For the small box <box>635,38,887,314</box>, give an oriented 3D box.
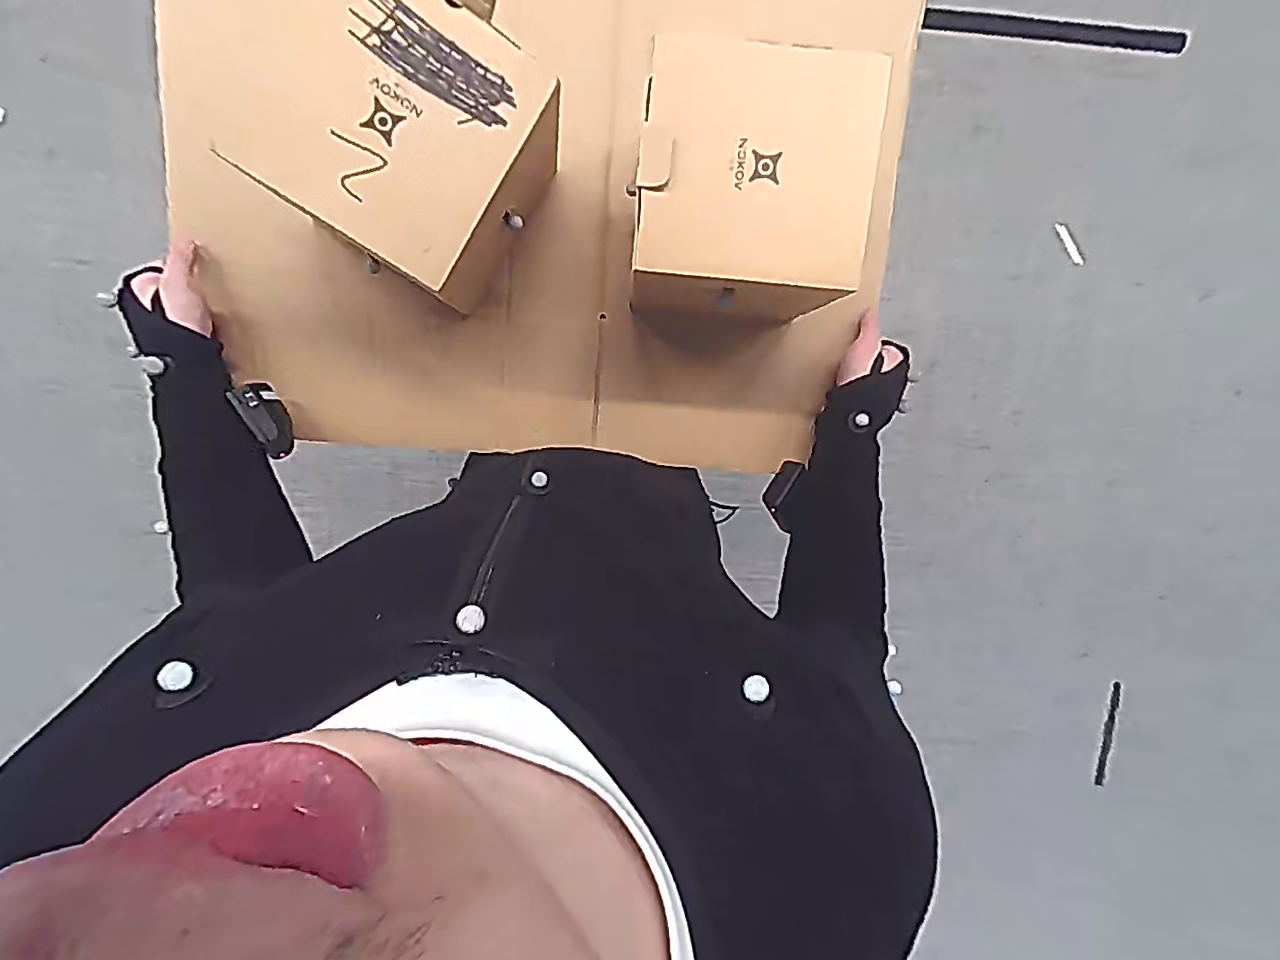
[{"bbox_3d":[0.090,-0.251,0.494,0.179,0.176,0.168,5,99,-2],"label":"small box"}]
